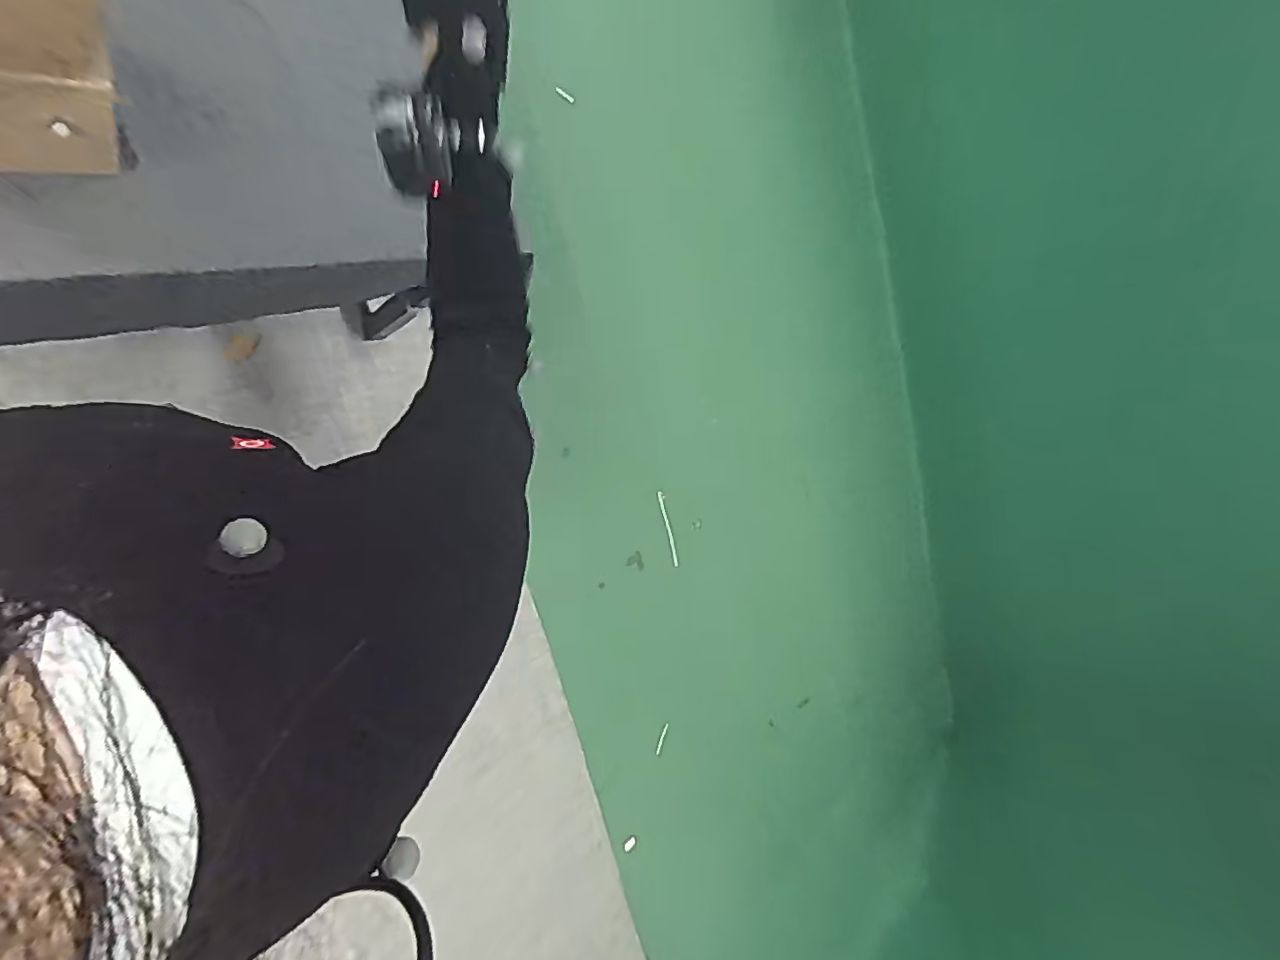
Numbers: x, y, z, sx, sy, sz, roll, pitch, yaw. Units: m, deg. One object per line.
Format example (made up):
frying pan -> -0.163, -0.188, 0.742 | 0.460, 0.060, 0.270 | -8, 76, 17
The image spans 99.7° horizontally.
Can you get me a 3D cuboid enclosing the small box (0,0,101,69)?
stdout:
small box -> -0.483, -0.399, 0.337 | 0.179, 0.176, 0.168 | -26, 106, -40
